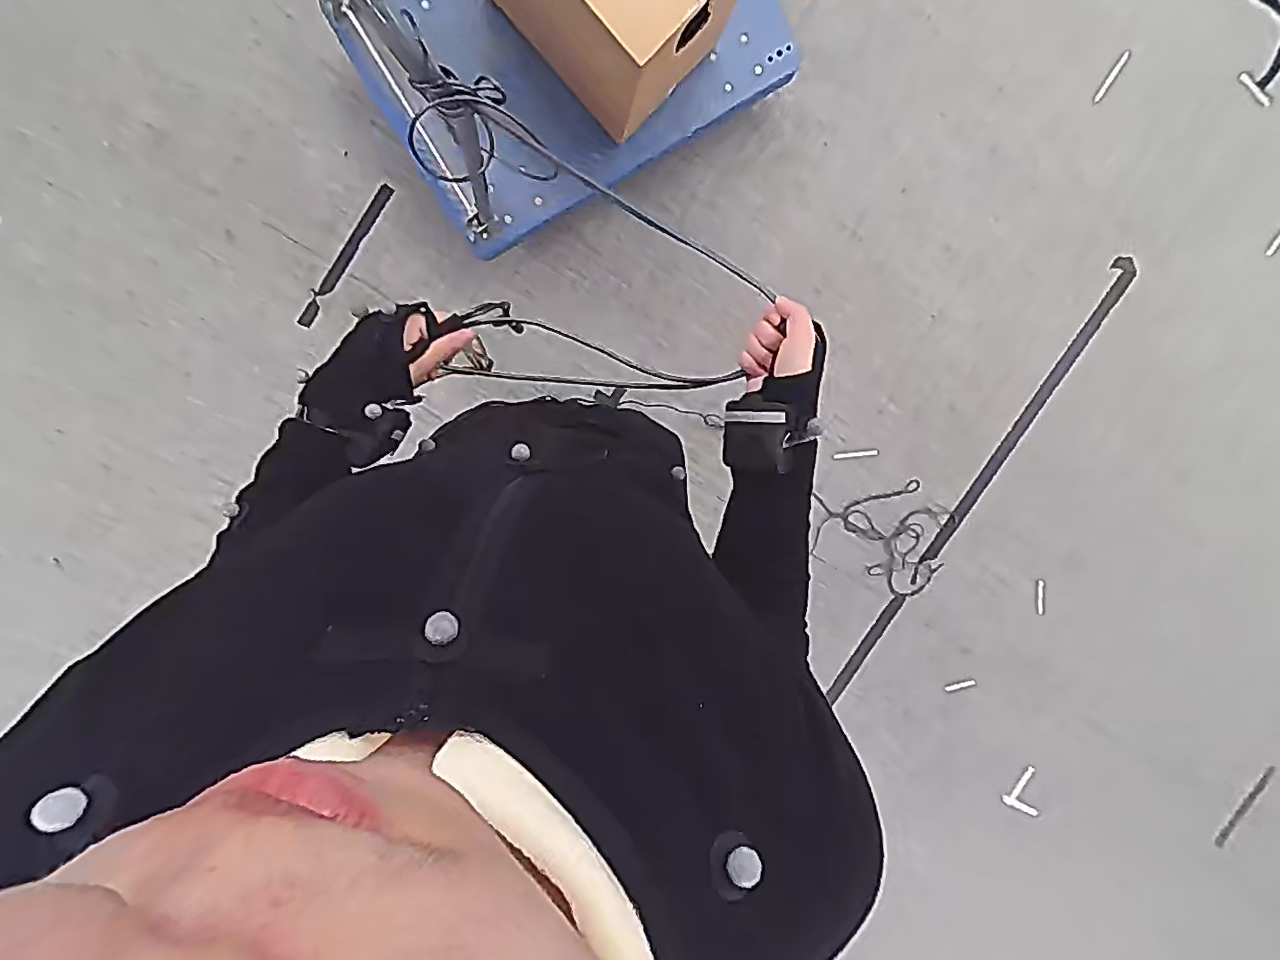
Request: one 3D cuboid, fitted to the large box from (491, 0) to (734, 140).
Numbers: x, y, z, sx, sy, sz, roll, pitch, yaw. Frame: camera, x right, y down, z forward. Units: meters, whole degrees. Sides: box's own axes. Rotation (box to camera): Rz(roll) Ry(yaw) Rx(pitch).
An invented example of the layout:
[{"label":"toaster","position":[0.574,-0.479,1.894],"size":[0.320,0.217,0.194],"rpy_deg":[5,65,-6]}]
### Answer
[{"label":"large box","position":[-0.059,-0.958,1.003],"size":[0.408,0.320,0.320],"rpy_deg":[43,92,-14]}]
